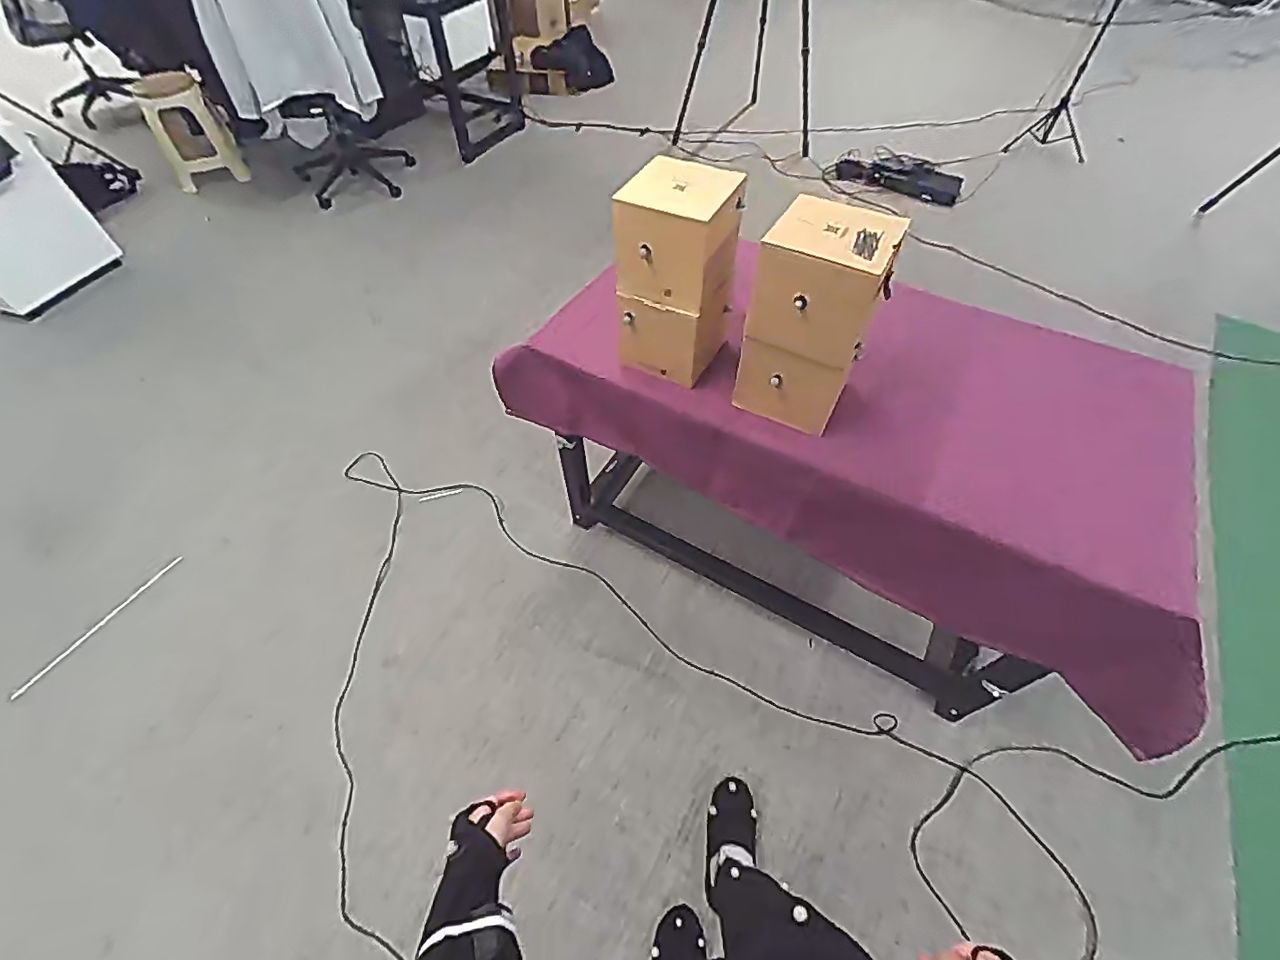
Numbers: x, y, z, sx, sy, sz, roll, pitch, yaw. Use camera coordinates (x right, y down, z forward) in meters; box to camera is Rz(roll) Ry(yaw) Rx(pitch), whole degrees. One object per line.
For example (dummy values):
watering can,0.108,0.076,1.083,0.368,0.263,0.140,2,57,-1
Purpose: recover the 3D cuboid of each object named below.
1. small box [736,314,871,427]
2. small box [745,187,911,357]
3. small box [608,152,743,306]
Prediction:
small box,0.286,-0.223,0.973,0.179,0.176,0.168,24,58,18
small box,0.281,-0.317,0.837,0.179,0.176,0.168,25,58,19
small box,0.062,-0.427,0.925,0.168,0.176,0.179,21,56,16
